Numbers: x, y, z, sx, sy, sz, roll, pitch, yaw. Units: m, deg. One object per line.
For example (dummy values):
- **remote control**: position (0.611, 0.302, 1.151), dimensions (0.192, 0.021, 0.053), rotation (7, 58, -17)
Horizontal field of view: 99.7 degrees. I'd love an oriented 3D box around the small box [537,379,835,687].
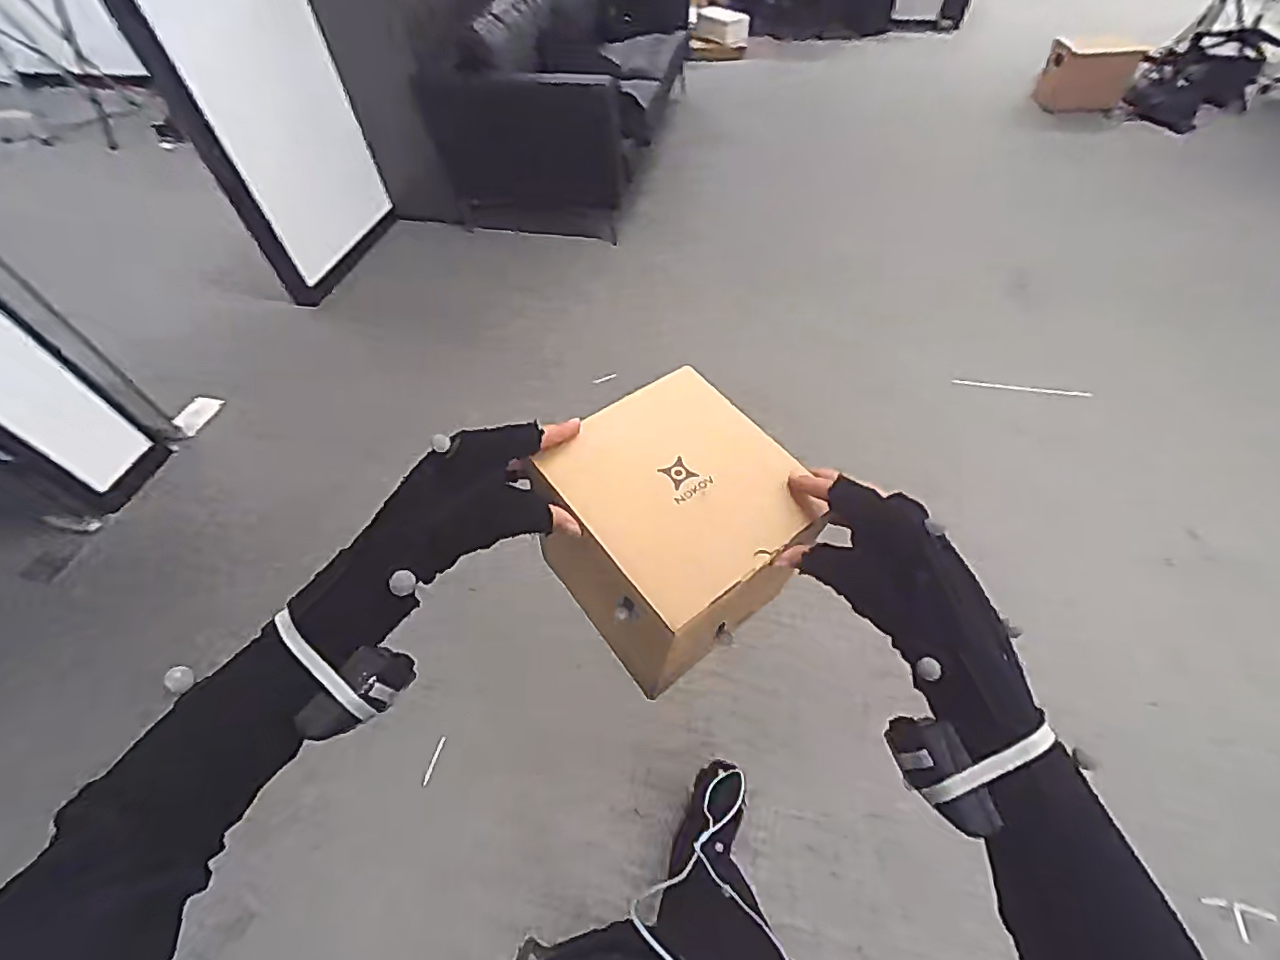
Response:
- **small box**: position (0.026, 0.050, 0.477), dimensions (0.168, 0.176, 0.179), rotation (-31, 64, -24)
